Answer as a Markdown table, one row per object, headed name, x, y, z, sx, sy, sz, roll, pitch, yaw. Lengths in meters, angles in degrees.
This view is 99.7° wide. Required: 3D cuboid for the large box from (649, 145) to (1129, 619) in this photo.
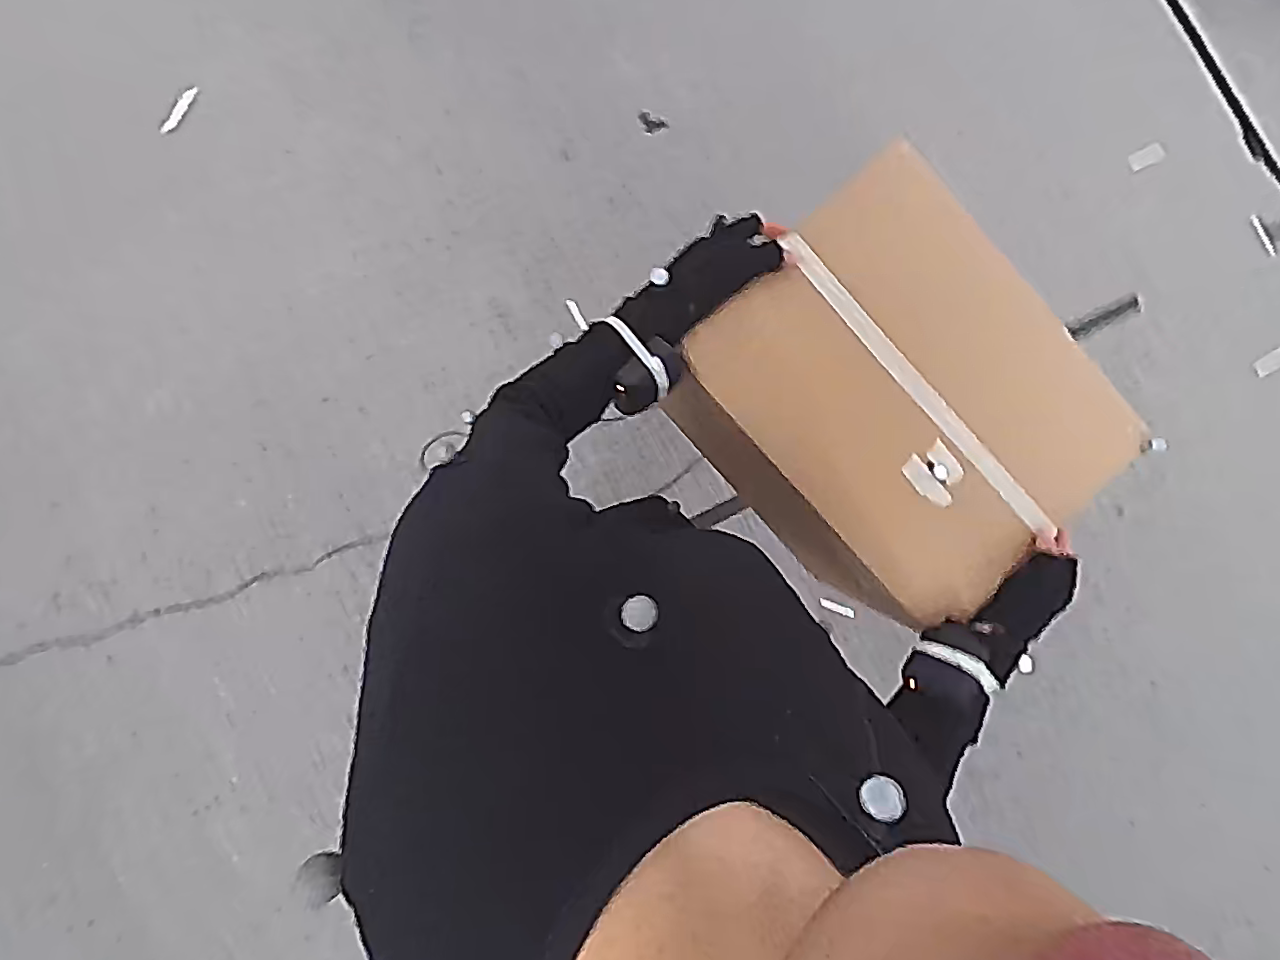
| name | x | y | z | sx | sy | sz | roll | pitch | yaw |
| --- | --- | --- | --- | --- | --- | --- | --- | --- | --- |
| large box | 0.266 | -0.103 | 0.703 | 0.320 | 0.320 | 0.408 | -43 | 95 | -1 |
